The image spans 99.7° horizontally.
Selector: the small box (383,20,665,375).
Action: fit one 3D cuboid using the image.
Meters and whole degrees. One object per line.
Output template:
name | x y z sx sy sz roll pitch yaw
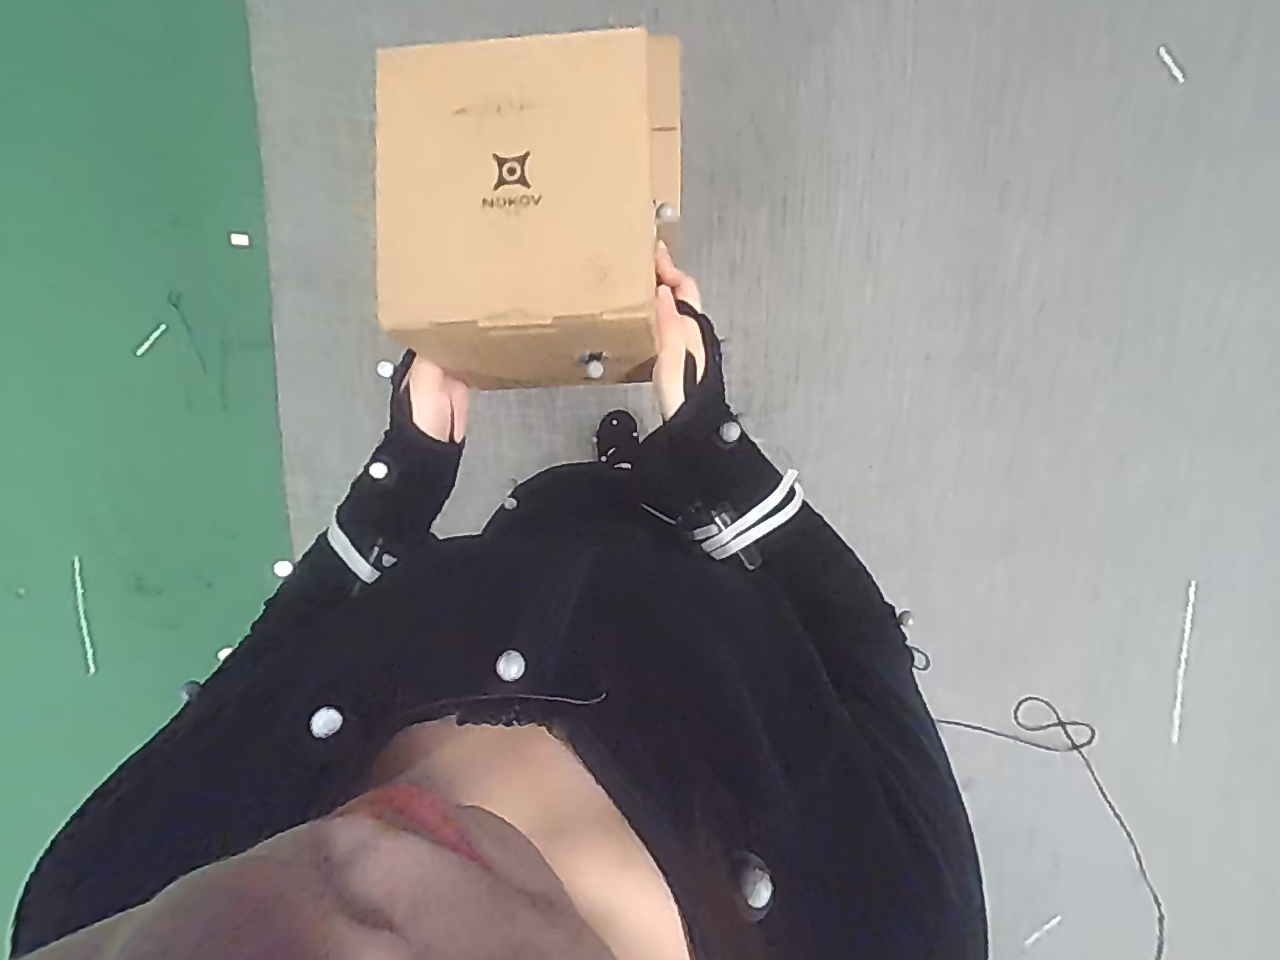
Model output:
small box | -0.066 -0.180 0.400 0.168 0.176 0.179 -1 85 3
